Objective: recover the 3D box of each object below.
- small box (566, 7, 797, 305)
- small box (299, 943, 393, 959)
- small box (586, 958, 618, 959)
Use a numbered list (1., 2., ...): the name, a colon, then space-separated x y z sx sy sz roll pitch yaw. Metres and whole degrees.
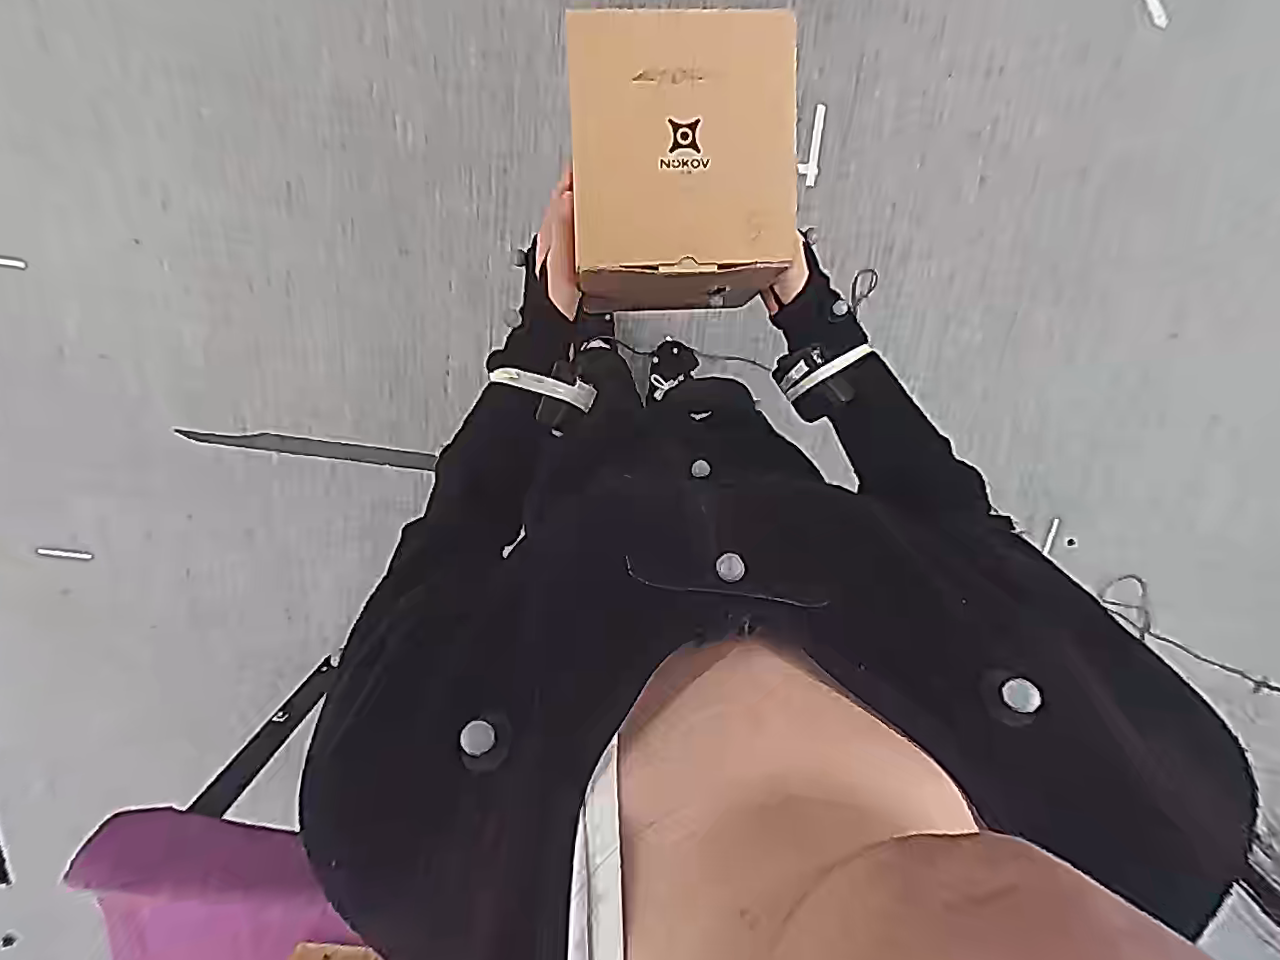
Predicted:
1. small box: 0.027 -0.254 0.468 0.168 0.176 0.179 -3 96 -4
2. small box: -0.554 0.974 0.962 0.168 0.176 0.179 6 107 -3
3. small box: -0.036 1.008 0.971 0.168 0.176 0.179 3 107 0
